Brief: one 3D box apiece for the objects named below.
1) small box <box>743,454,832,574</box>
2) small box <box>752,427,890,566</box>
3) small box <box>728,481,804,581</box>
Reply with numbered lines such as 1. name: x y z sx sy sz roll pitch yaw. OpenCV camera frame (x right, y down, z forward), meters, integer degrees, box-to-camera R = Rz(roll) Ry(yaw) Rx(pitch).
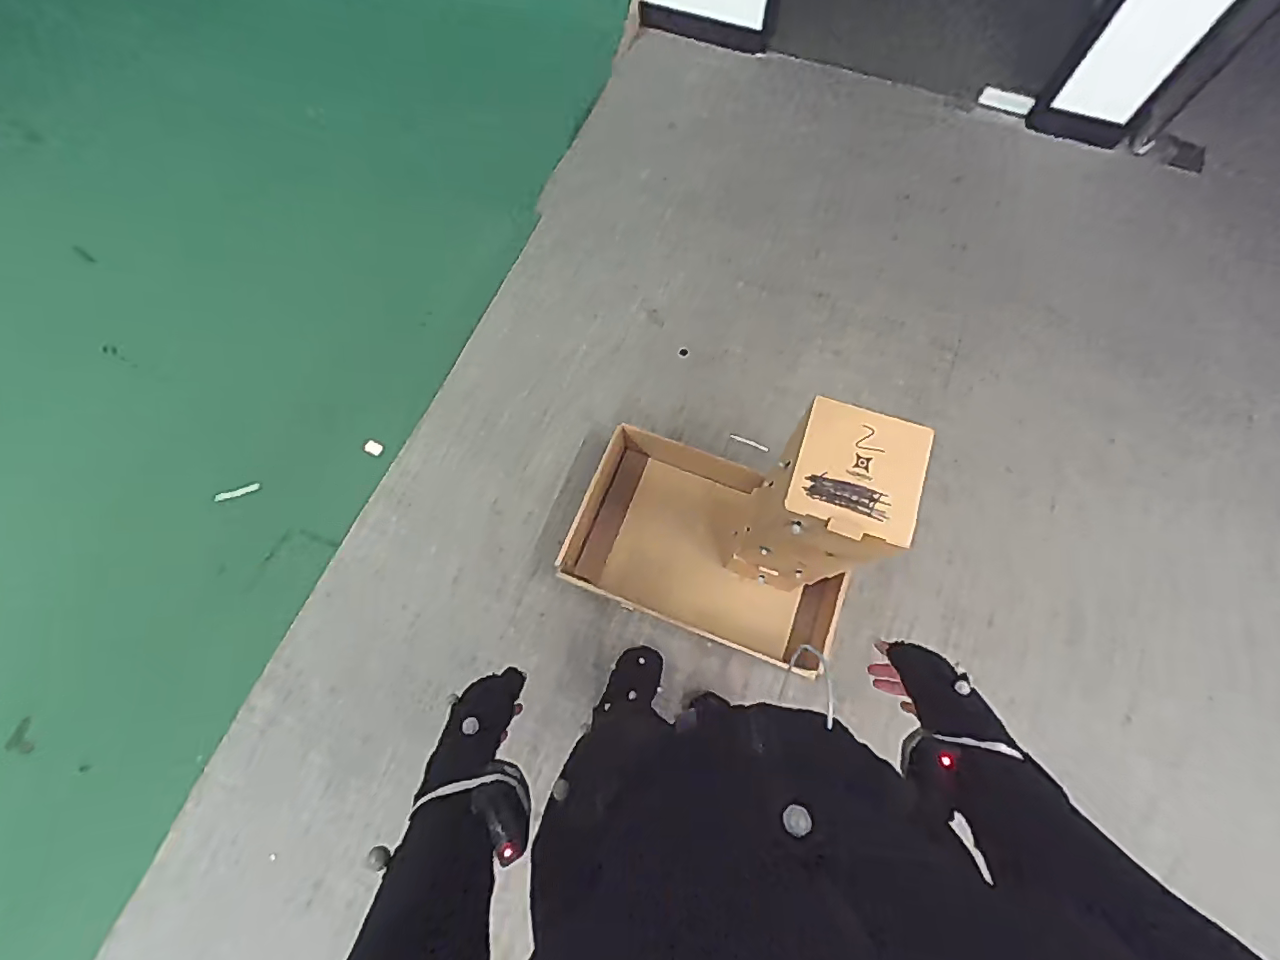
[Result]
1. small box: 0.316 0.076 1.094 0.168 0.176 0.179 20 74 8
2. small box: 0.307 0.038 0.952 0.168 0.176 0.179 22 75 8
3. small box: 0.309 0.127 1.269 0.168 0.176 0.179 16 73 8
